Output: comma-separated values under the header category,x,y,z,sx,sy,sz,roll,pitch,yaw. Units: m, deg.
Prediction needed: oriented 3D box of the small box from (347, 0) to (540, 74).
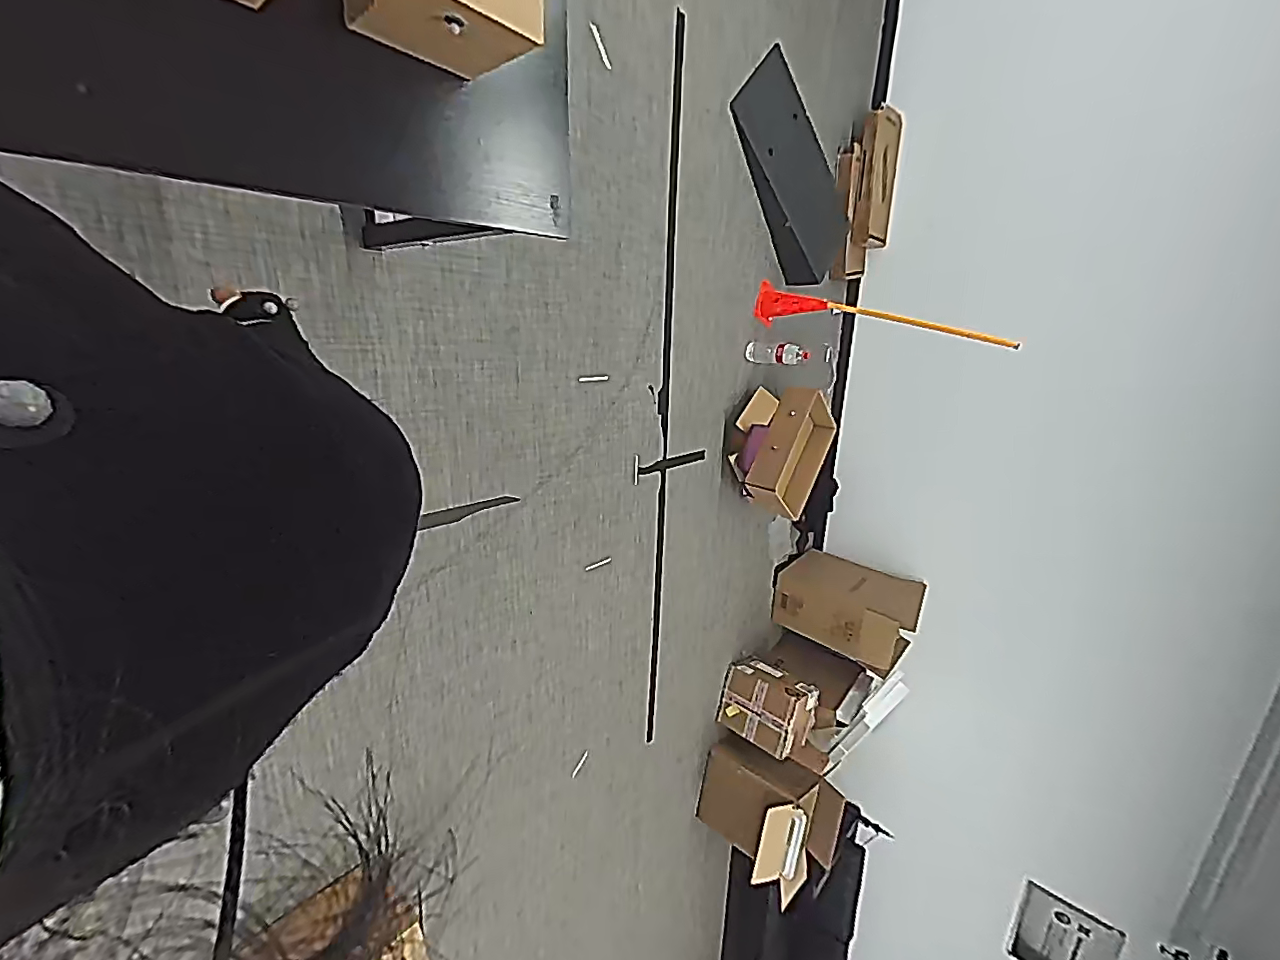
category,x,y,z,sx,sy,sz,roll,pitch,yaw
small box,-0.242,-0.632,0.656,0.179,0.176,0.168,-14,113,-47
